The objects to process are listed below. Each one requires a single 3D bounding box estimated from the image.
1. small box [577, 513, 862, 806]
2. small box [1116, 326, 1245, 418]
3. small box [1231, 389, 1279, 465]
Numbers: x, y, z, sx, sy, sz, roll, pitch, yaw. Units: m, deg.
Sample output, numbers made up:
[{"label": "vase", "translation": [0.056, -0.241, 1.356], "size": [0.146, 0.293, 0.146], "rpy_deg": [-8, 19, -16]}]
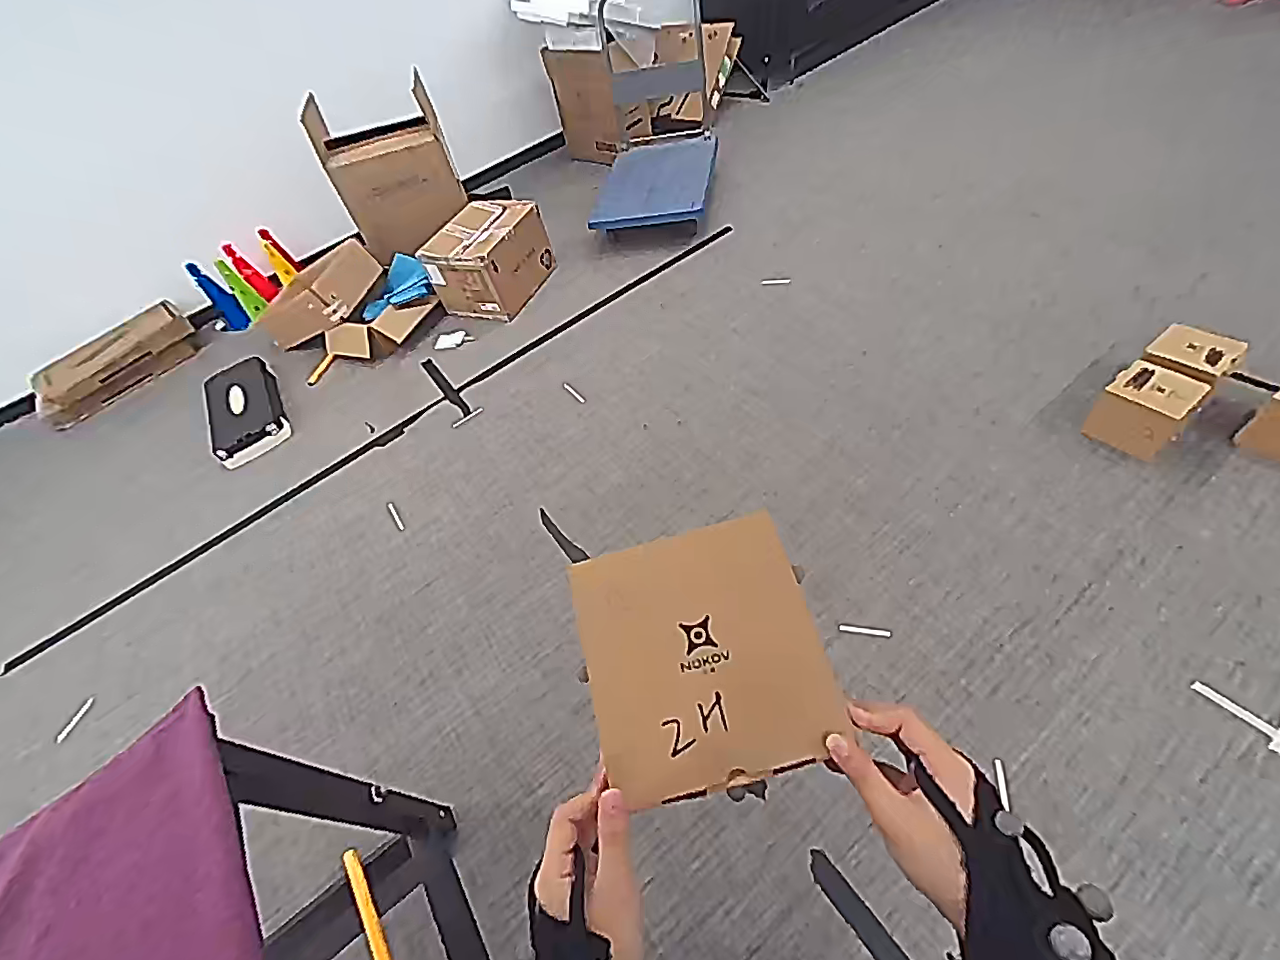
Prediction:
[{"label": "small box", "translation": [0.057, 0.158, 0.462], "size": [0.168, 0.176, 0.179], "rpy_deg": [-17, 61, 0]}, {"label": "small box", "translation": [1.539, -0.303, 1.552], "size": [0.168, 0.176, 0.179], "rpy_deg": [-36, 51, -14]}, {"label": "small box", "translation": [1.704, -0.145, 1.382], "size": [0.168, 0.176, 0.179], "rpy_deg": [-35, 51, -13]}]
